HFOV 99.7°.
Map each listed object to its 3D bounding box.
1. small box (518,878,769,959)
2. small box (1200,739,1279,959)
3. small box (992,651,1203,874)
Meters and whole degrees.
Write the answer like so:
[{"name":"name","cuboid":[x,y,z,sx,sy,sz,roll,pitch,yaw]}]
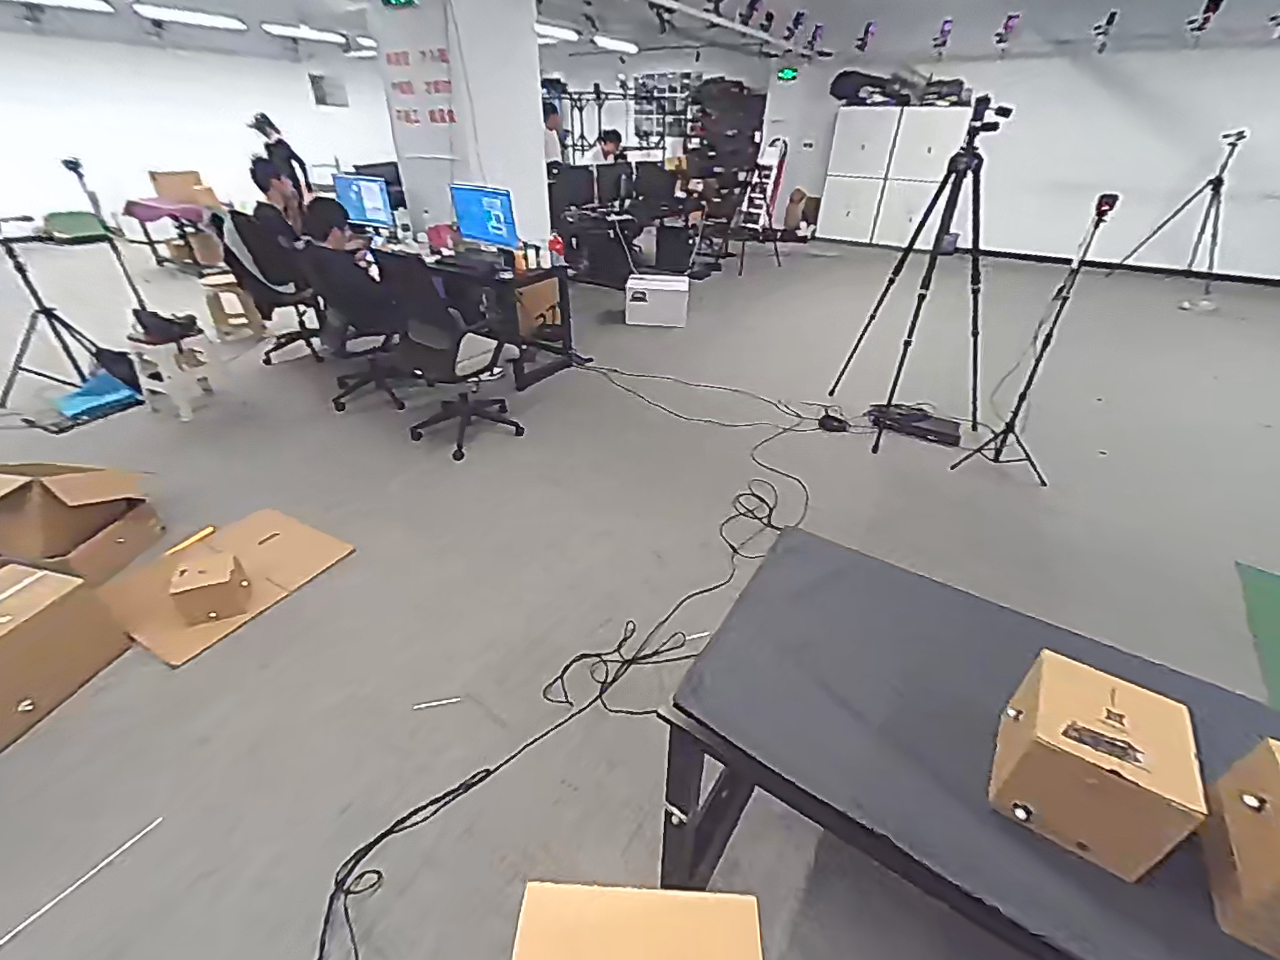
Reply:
[{"name":"small box","cuboid":[-0.003,0.401,0.358,0.168,0.176,0.179,2,37,2]},{"name":"small box","cuboid":[0.807,0.455,0.626,0.168,0.176,0.179,20,37,28]},{"name":"small box","cuboid":[0.606,0.380,0.738,0.168,0.176,0.179,22,37,29]}]
